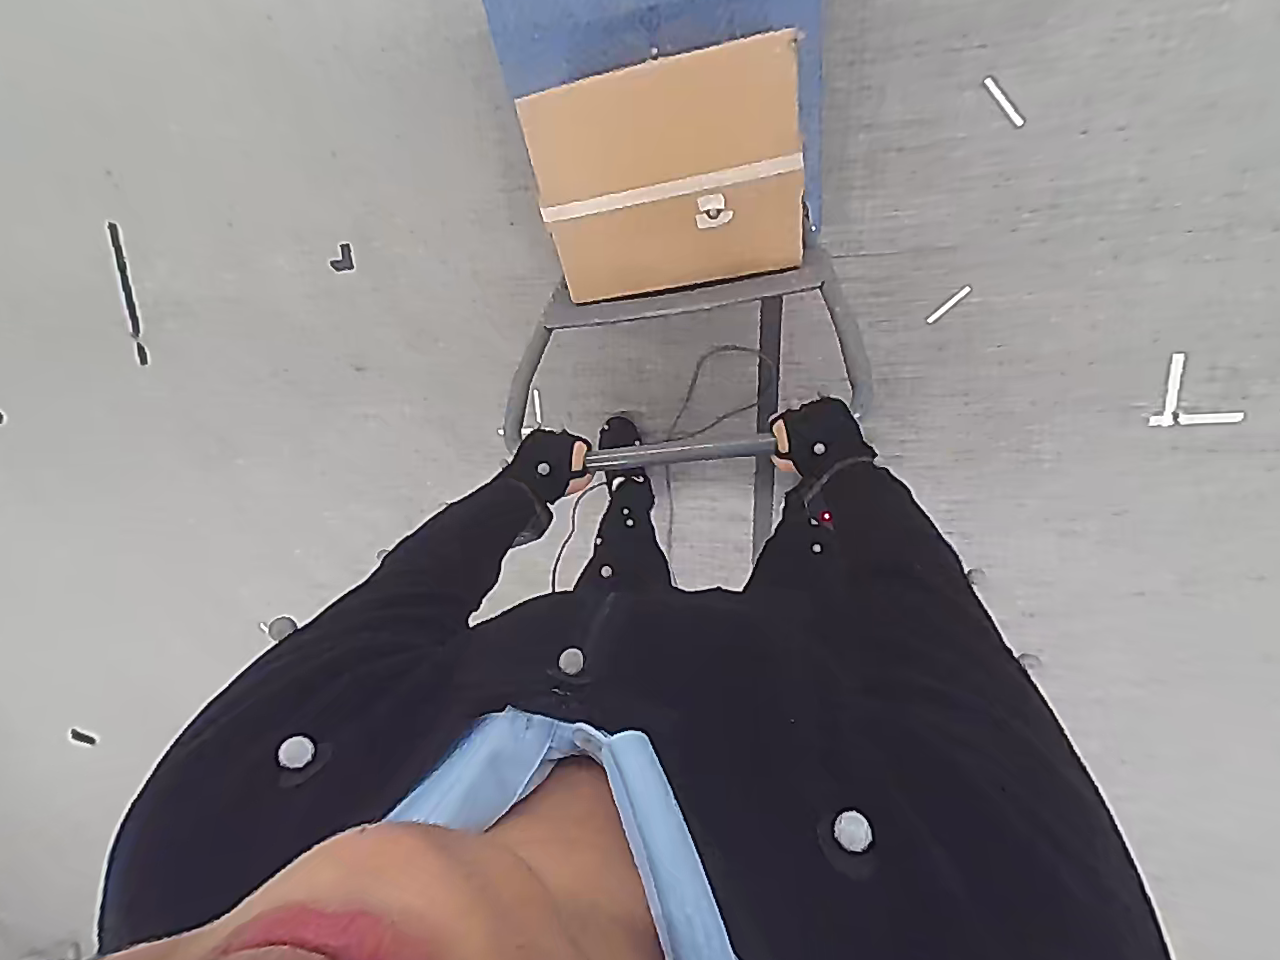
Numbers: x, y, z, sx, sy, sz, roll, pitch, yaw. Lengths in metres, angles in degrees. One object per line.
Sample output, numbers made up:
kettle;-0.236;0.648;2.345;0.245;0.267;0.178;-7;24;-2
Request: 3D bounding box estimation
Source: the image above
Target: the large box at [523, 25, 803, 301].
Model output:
large box;0.058;-0.561;0.973;0.408;0.320;0.320;-7;128;11
